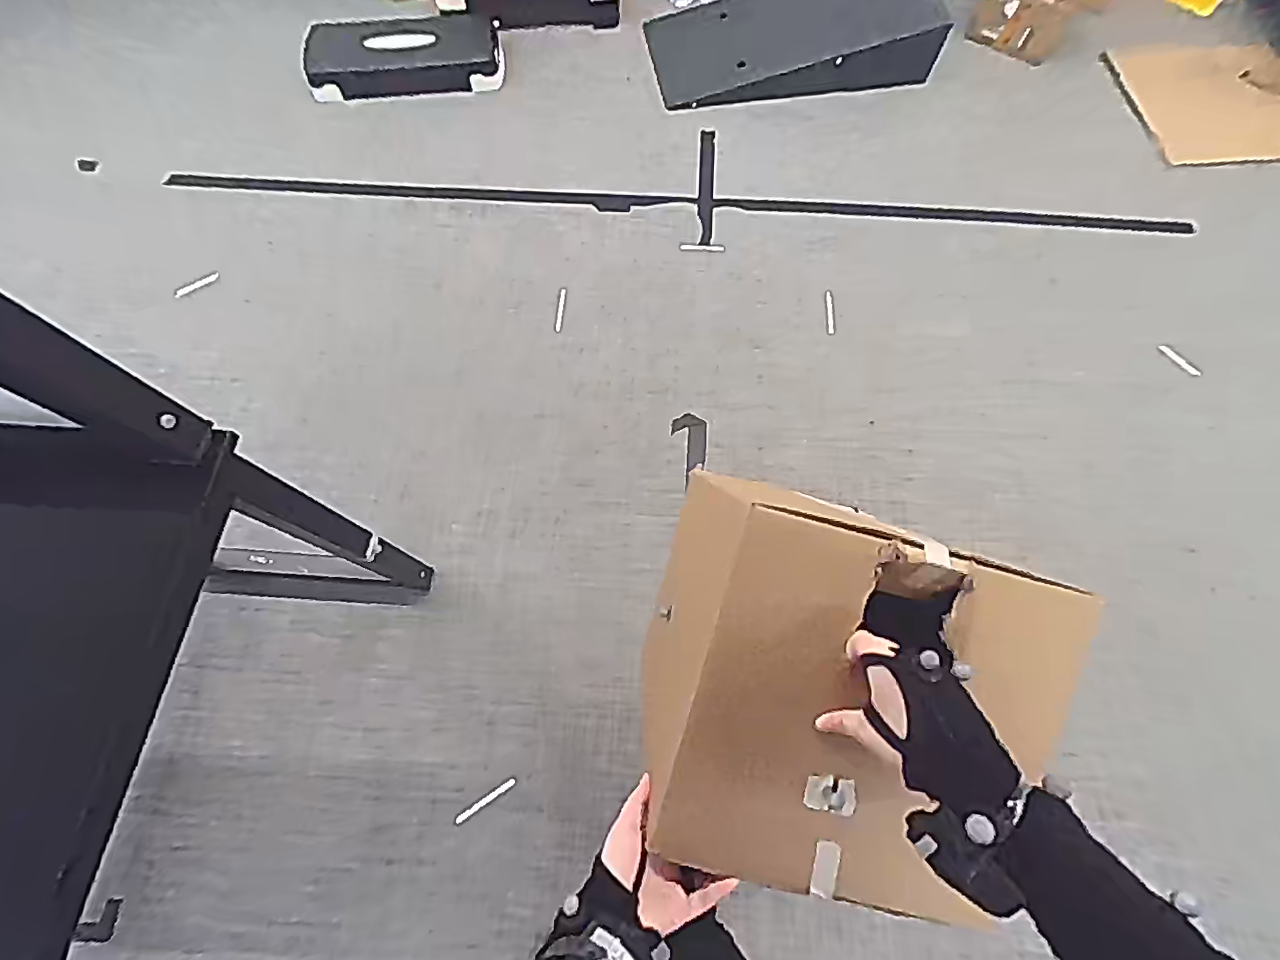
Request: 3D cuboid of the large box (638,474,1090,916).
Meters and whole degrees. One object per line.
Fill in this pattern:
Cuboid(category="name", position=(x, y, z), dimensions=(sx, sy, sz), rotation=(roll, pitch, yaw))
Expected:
Cuboid(category="large box", position=(0.185, 0.188, 0.642), dimensions=(0.320, 0.408, 0.320), rotation=(16, 94, -3))
